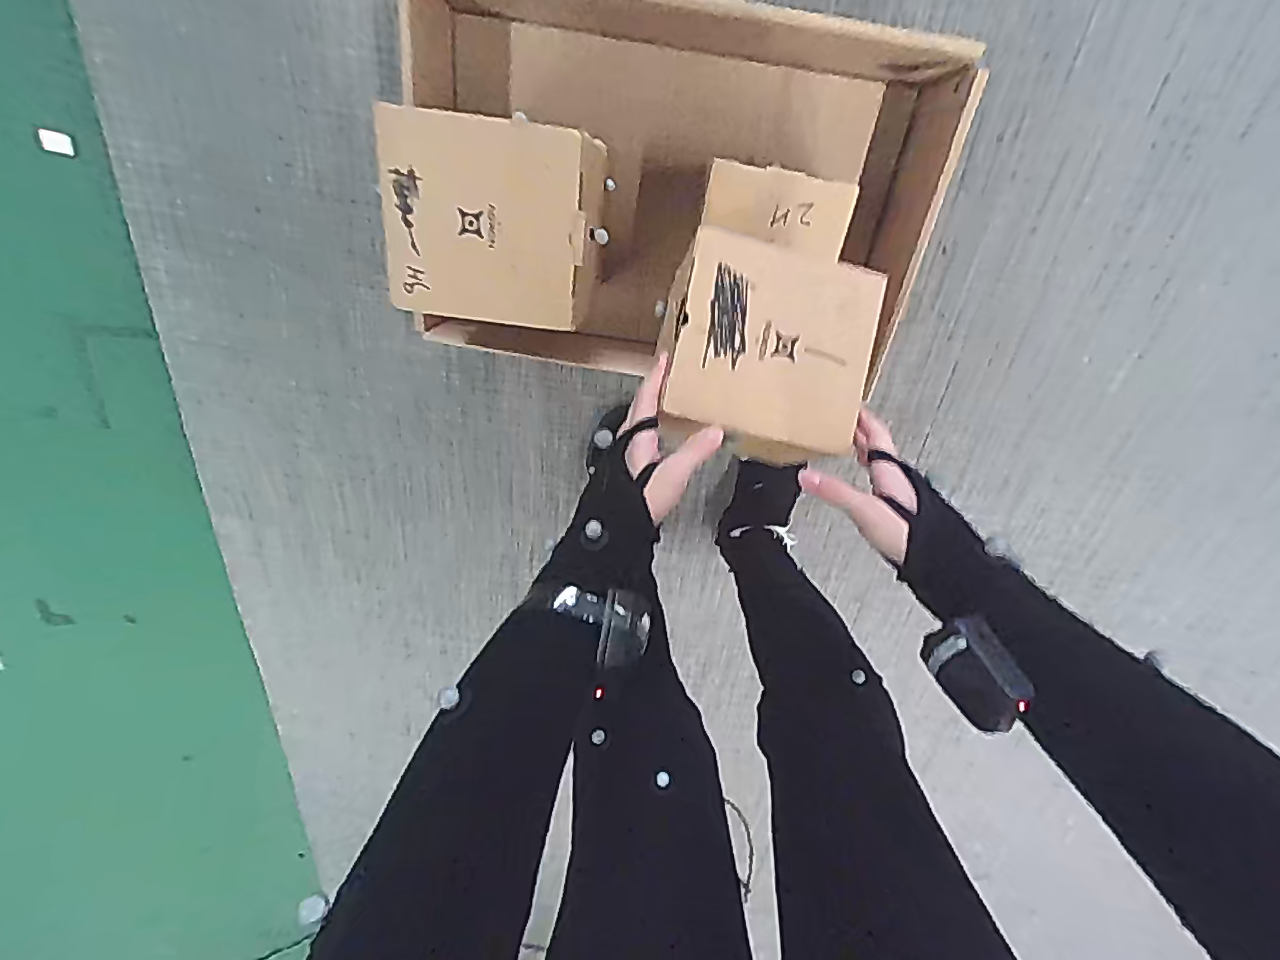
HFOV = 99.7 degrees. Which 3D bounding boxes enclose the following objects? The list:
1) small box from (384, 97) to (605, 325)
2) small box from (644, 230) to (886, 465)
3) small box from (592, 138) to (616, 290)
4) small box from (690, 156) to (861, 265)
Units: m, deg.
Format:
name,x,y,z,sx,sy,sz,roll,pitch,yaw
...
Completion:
name,x,y,z,sx,sy,sz,roll,pitch,yaw
small box,-0.131,-0.266,0.549,0.179,0.176,0.168,7,116,-2
small box,0.109,-0.114,0.545,0.179,0.176,0.168,13,86,-7
small box,-0.126,-0.342,0.694,0.168,0.176,0.179,9,116,-2
small box,0.154,-0.298,0.698,0.168,0.176,0.179,10,117,-2
